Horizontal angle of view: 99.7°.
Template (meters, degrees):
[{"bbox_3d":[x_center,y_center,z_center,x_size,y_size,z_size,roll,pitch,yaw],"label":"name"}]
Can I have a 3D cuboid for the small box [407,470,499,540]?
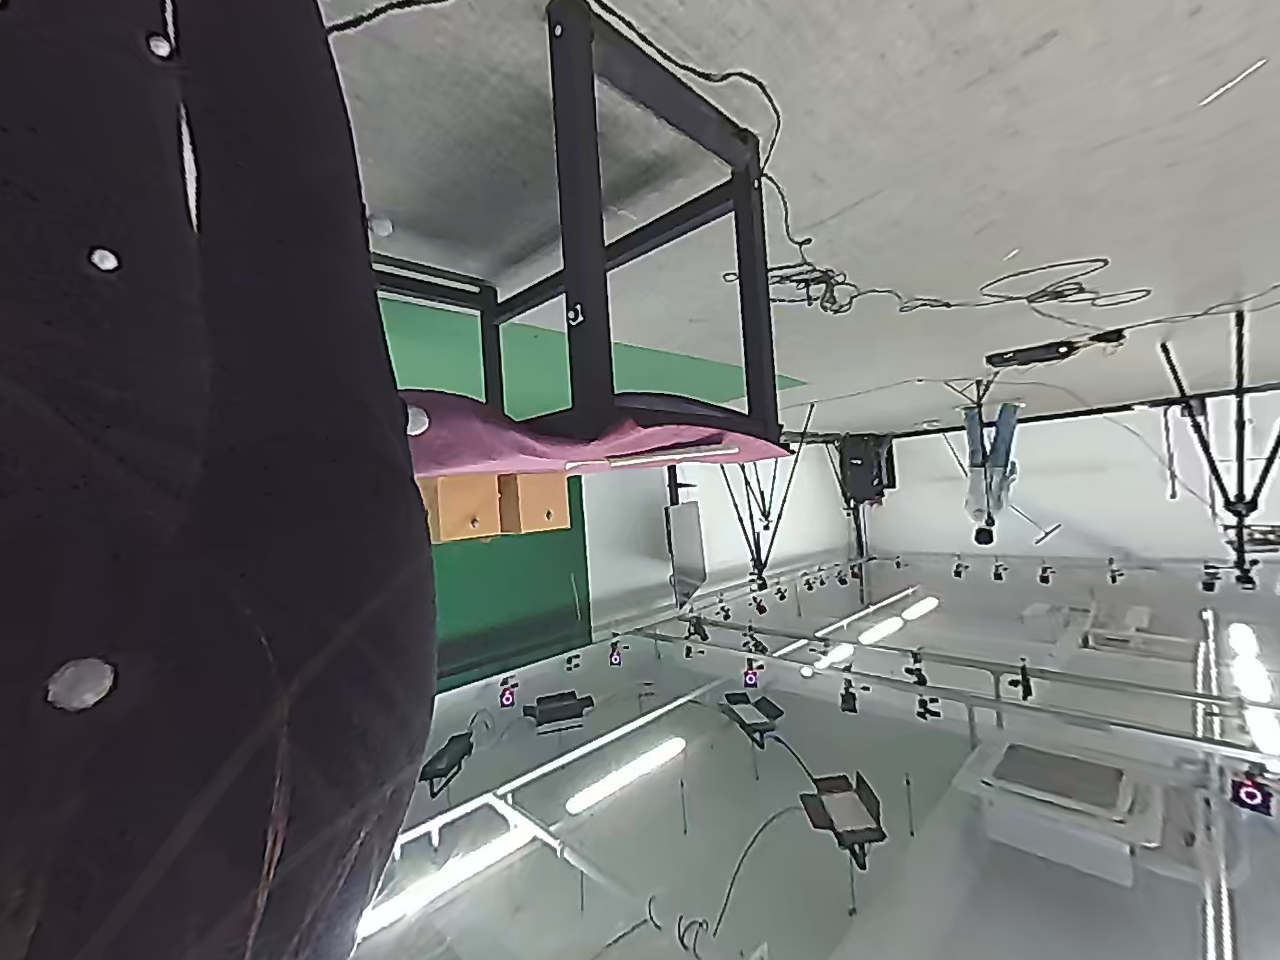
[{"bbox_3d":[-0.498,0.065,1.433,0.168,0.176,0.179,-6,178,40],"label":"small box"}]

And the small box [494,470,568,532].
[{"bbox_3d":[-0.332,0.057,1.584,0.168,0.176,0.179,-5,178,43],"label":"small box"}]
